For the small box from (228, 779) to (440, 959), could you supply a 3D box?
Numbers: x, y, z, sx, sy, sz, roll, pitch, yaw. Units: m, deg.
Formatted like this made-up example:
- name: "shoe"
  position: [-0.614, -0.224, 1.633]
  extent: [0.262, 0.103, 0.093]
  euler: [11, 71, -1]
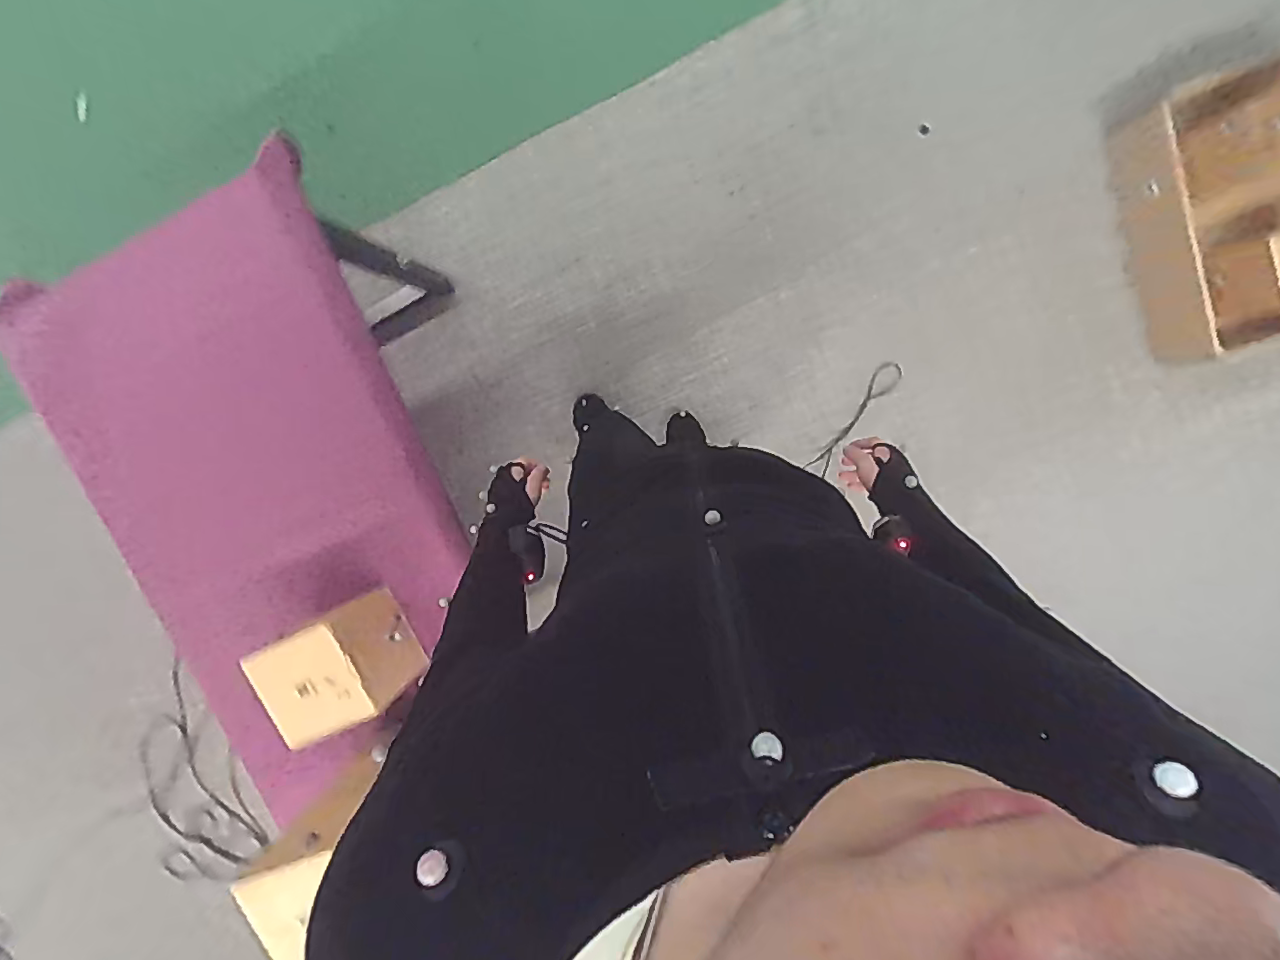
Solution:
- name: "small box"
  position: [-0.412, 0.566, 0.768]
  extent: [0.179, 0.176, 0.168]
  euler: [-25, 95, 9]

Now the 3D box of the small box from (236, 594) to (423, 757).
- name: "small box"
  position: [-0.505, 0.317, 0.906]
  extent: [0.179, 0.176, 0.168]
  euler: [-25, 96, 9]

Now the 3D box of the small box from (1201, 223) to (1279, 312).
- name: "small box"
  position: [1.494, -0.511, 1.264]
  extent: [0.179, 0.176, 0.168]
  euler: [-19, 95, 8]
